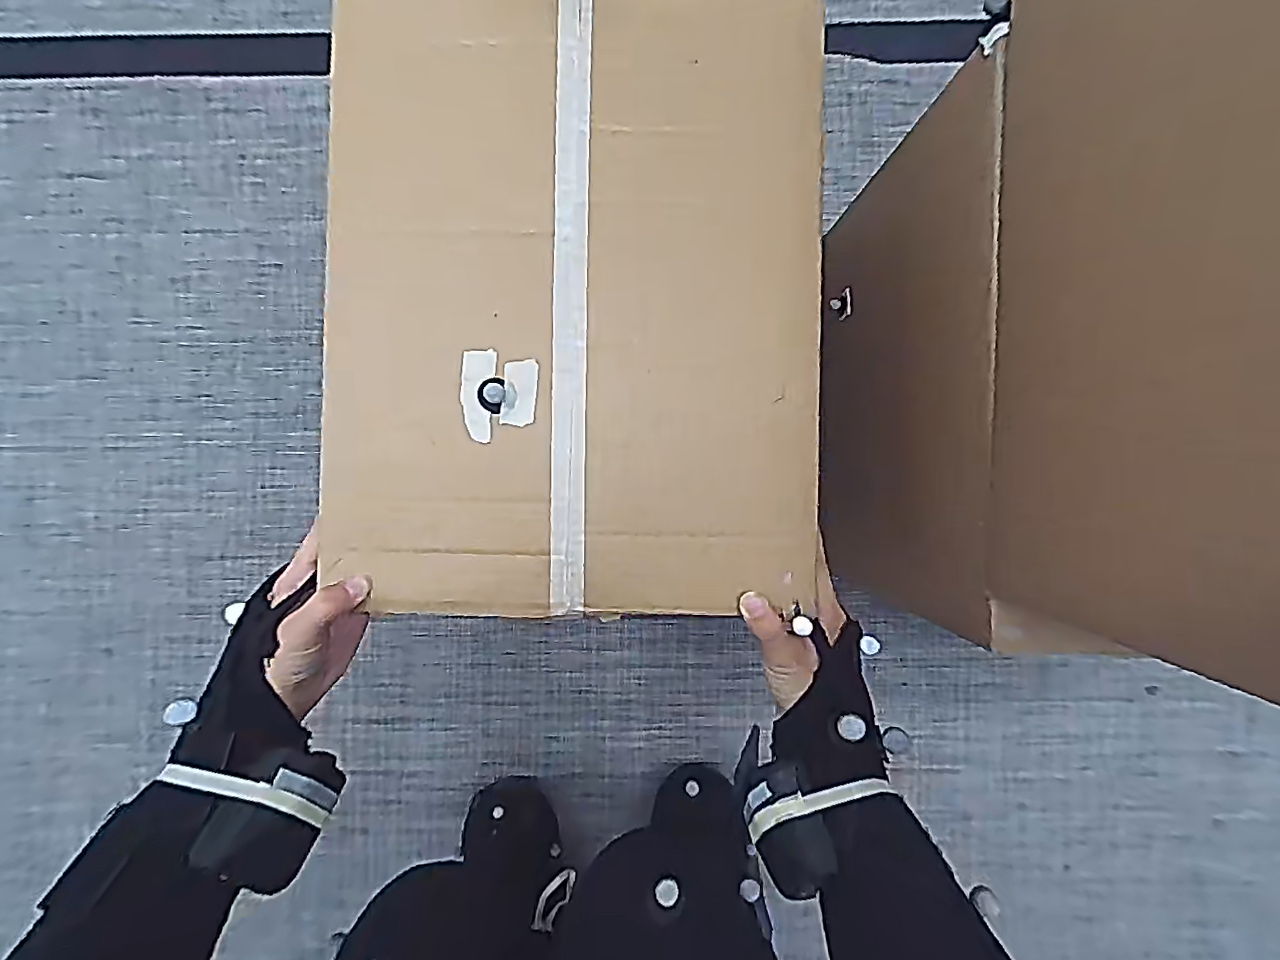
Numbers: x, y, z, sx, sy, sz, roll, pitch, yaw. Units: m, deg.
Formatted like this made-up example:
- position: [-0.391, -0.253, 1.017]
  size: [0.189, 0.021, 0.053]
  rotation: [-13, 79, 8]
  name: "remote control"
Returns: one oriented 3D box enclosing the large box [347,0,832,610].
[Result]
- position: [-0.034, -0.118, 0.494]
  size: [0.320, 0.320, 0.408]
  rotation: [0, 89, 0]
  name: "large box"
